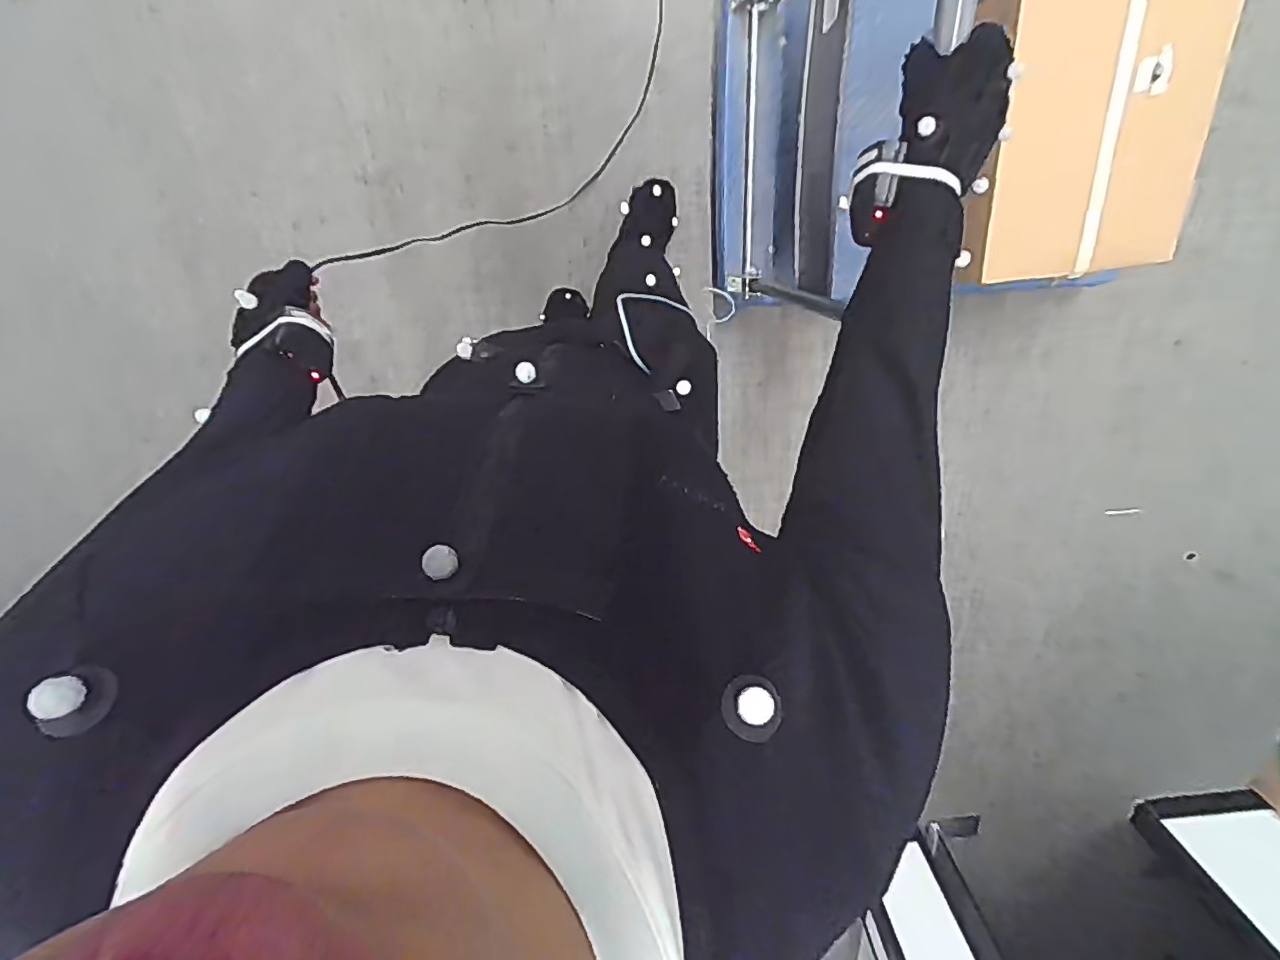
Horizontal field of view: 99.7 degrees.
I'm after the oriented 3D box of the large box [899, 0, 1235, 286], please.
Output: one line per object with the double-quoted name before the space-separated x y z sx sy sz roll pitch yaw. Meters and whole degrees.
"large box" 0.681 -0.576 0.940 0.320 0.320 0.408 -7 114 0
